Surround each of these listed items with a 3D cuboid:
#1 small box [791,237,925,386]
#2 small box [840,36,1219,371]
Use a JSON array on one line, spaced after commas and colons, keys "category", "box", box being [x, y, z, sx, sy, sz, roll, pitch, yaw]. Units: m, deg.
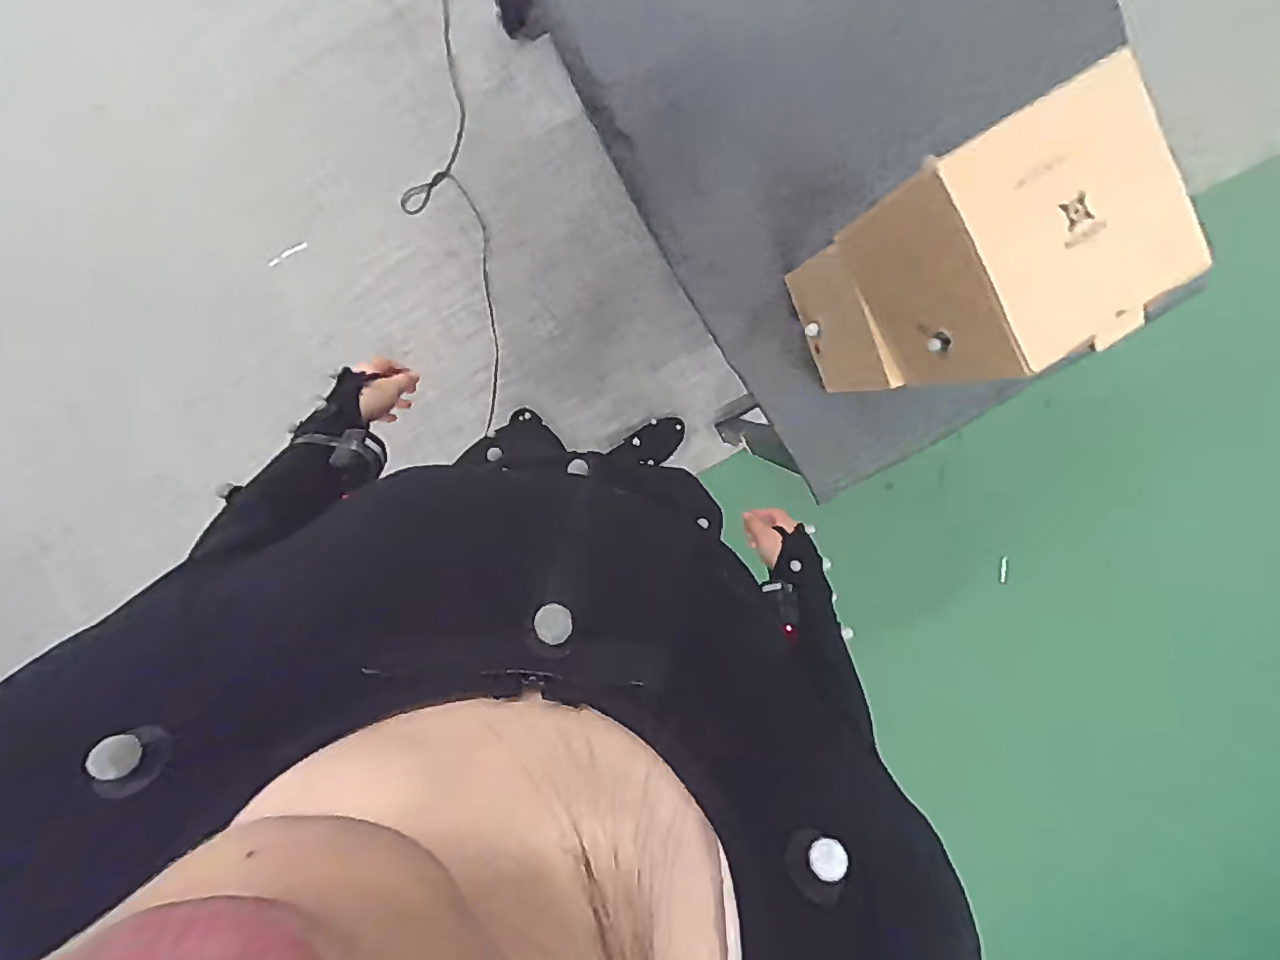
[{"category": "small box", "box": [0.305, -0.219, 0.630, 0.179, 0.176, 0.168, -23, 98, 0]}, {"category": "small box", "box": [0.310, -0.207, 0.468, 0.168, 0.176, 0.179, -31, 97, -1]}]
